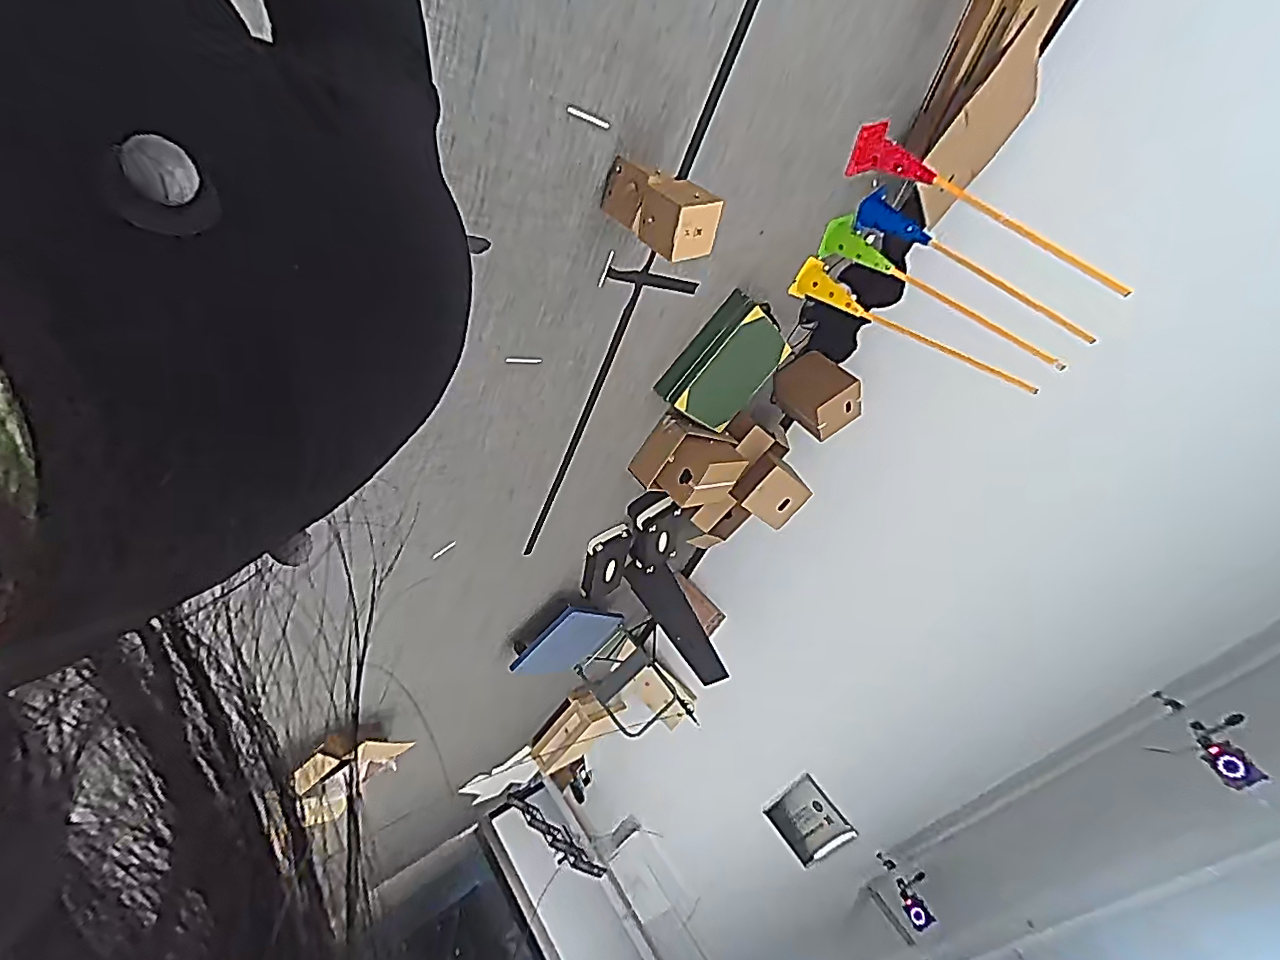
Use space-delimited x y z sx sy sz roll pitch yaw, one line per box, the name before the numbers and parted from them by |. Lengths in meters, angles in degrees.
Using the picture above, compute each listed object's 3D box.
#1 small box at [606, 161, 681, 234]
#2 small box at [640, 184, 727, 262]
small box | 0.020 -0.894 1.730 0.179 0.176 0.168 -14 141 -44
small box | 0.129 -0.792 1.659 0.179 0.176 0.168 -21 144 -32
